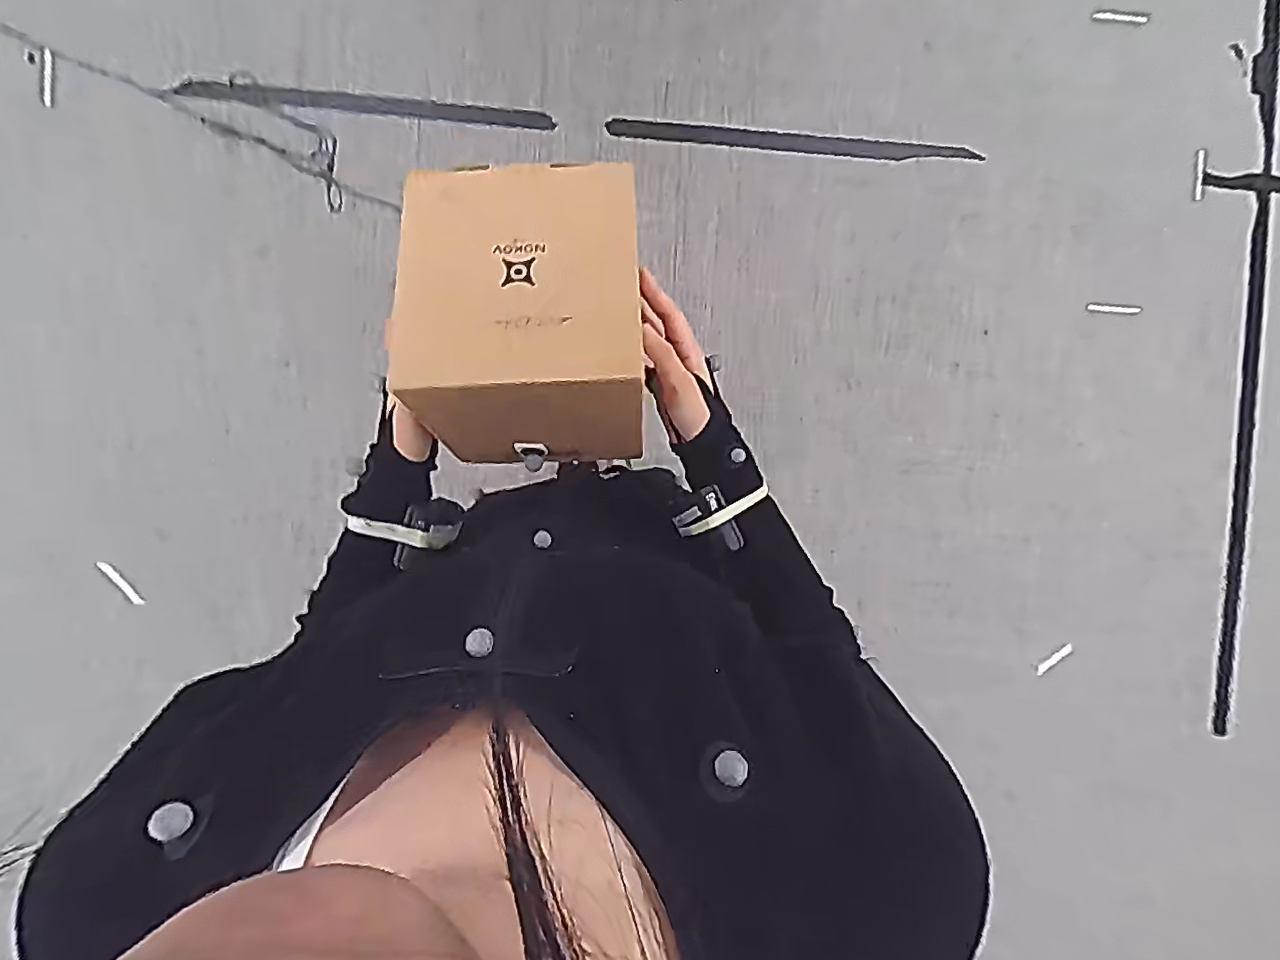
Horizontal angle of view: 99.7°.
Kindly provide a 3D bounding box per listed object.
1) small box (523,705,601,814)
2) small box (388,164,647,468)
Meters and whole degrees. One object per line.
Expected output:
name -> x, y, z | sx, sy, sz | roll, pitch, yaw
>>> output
small box -> -0.178, 0.645, 1.265 | 0.168, 0.176, 0.179 | 2, 93, -3
small box -> -0.082, -0.120, 0.442 | 0.168, 0.176, 0.179 | -3, 74, -1
